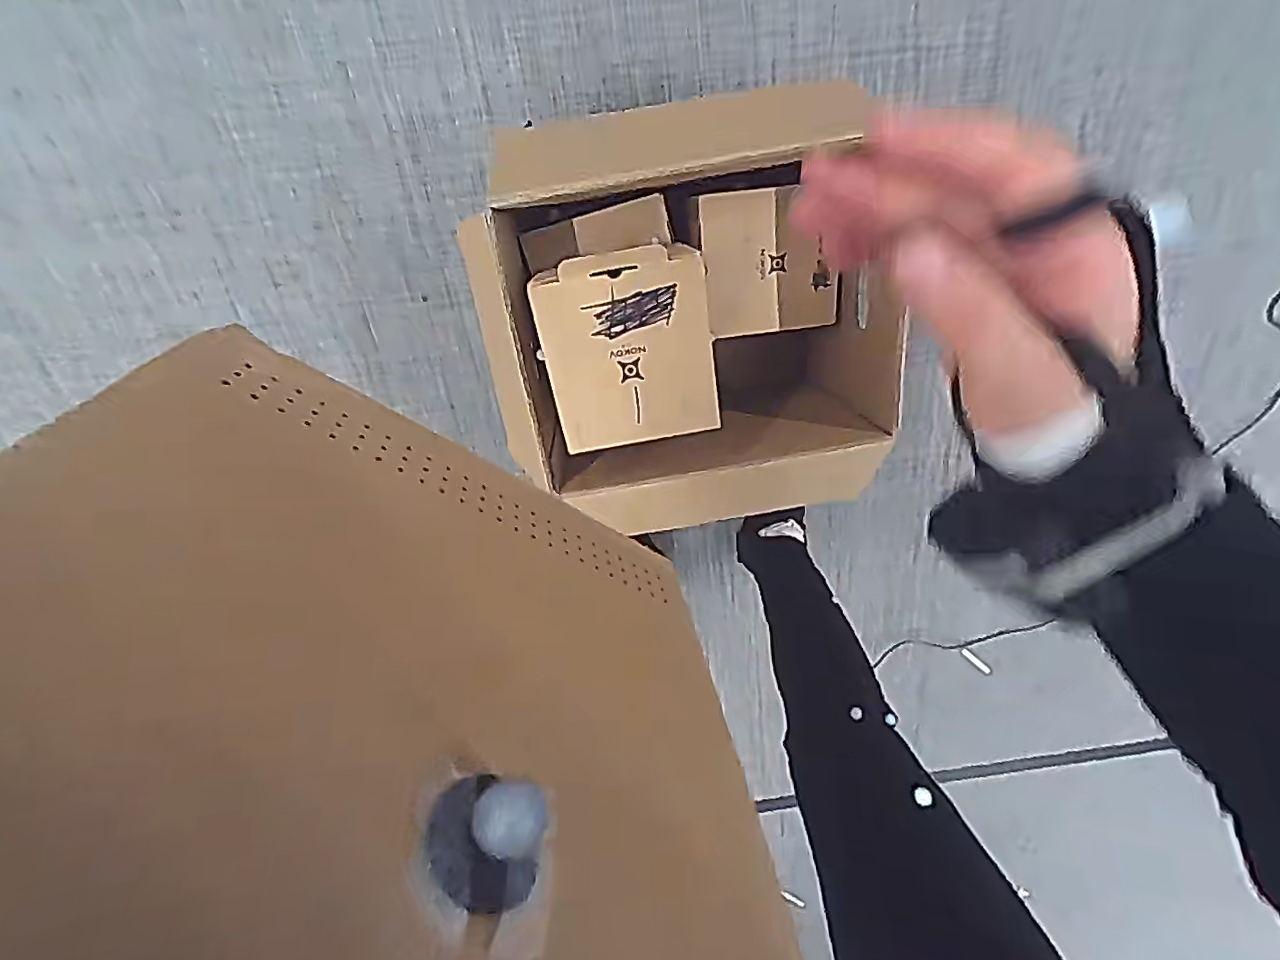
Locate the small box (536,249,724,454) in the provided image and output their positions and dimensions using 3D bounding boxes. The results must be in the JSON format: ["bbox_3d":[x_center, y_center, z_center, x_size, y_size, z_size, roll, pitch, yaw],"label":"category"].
[{"bbox_3d":[-0.009,-0.151,0.599,0.168,0.176,0.179,-10,117,2],"label":"small box"}]

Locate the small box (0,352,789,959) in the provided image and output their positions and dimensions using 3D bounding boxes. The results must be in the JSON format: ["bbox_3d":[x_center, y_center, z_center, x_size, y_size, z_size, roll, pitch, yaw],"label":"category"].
[{"bbox_3d":[-0.083,0.093,0.144,0.179,0.176,0.168,32,110,-27],"label":"small box"}]
